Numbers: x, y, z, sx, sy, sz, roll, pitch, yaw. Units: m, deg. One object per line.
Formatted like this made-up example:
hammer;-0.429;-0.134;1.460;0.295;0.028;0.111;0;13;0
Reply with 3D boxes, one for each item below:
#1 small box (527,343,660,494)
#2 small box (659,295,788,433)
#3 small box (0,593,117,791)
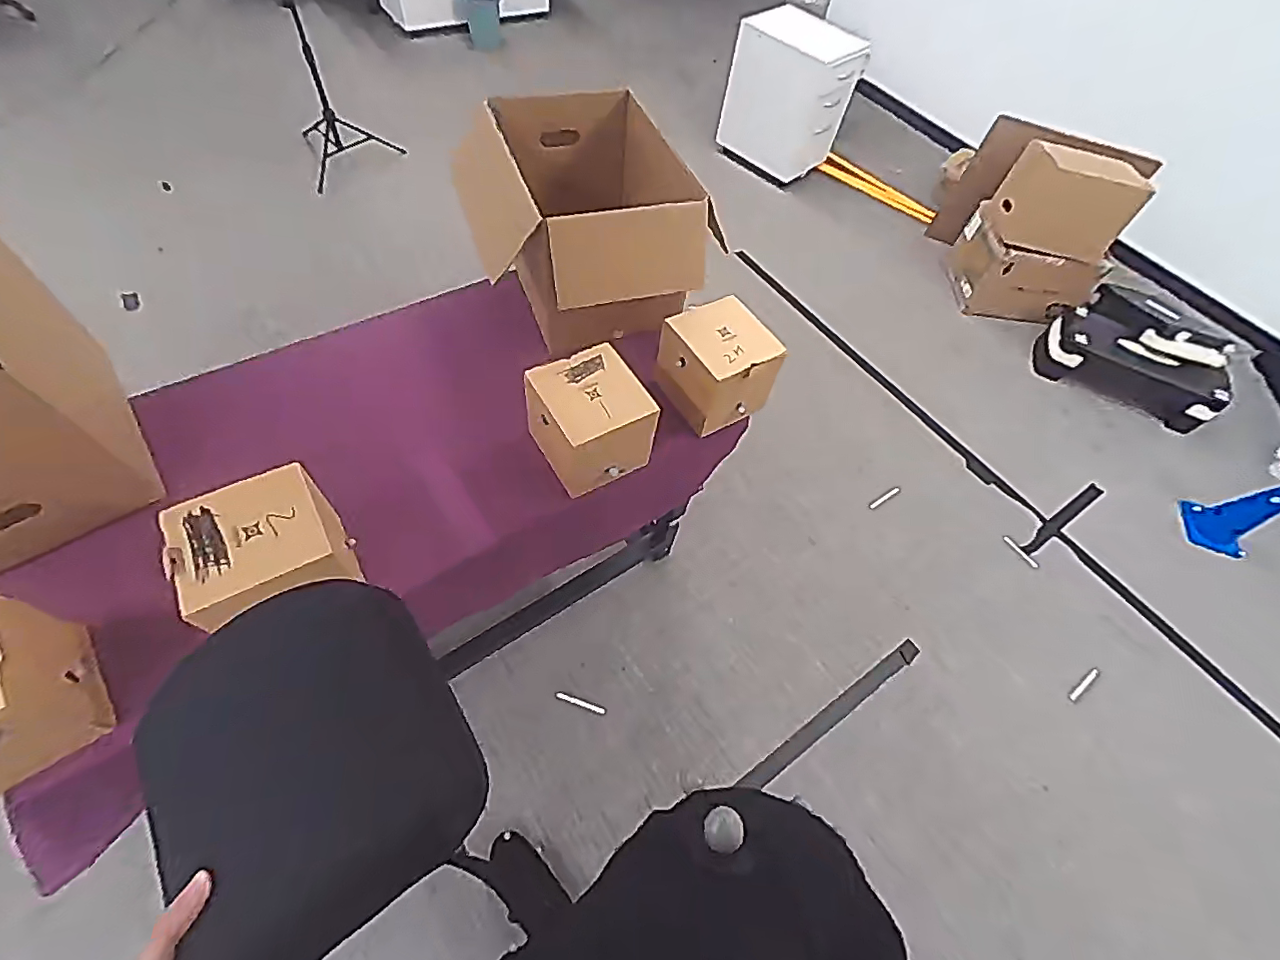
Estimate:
small box;-0.087;-0.106;0.964;0.168;0.176;0.179;-26;65;-20
small box;0.152;-0.225;1.064;0.168;0.176;0.179;-25;64;-20
small box;-0.800;0.268;0.646;0.179;0.176;0.168;-31;67;-24
